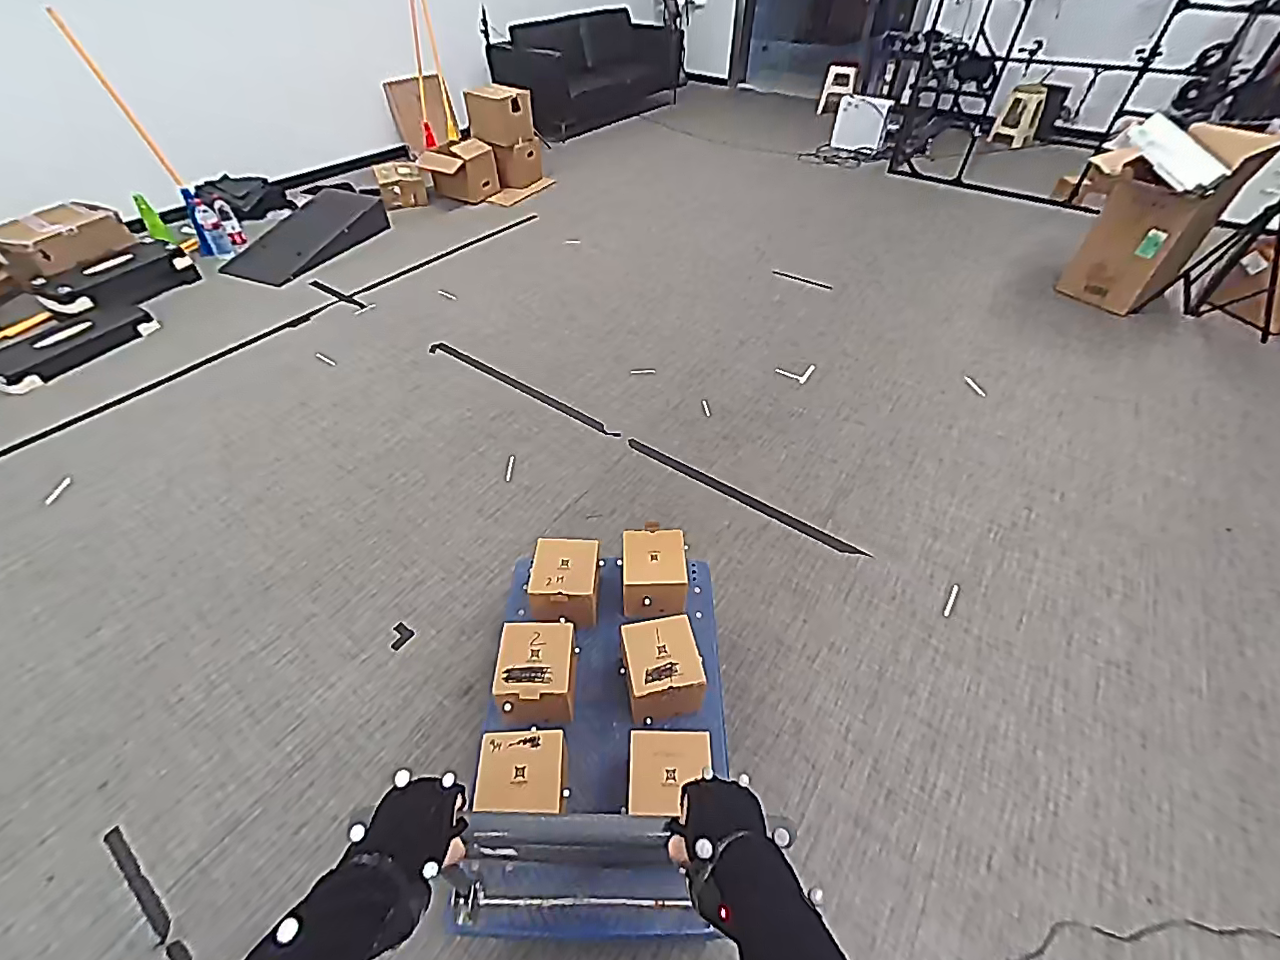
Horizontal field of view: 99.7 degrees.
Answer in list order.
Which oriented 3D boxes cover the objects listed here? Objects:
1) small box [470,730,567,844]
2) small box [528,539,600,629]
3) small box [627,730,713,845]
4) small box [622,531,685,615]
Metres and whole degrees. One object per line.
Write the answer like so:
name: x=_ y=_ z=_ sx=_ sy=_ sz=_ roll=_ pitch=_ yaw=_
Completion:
small box: x=-0.239 y=0.638 z=1.117 sx=0.168 sy=0.176 sz=0.179 roll=-1 pitch=46 yaw=-3
small box: x=-0.199 y=0.281 z=1.463 sx=0.168 sy=0.176 sz=0.179 roll=2 pitch=47 yaw=1
small box: x=0.059 y=0.642 z=1.124 sx=0.168 sy=0.176 sz=0.179 roll=2 pitch=45 yaw=0
small box: x=0.034 y=0.261 z=1.492 sx=0.168 sy=0.176 sz=0.179 roll=-1 pitch=46 yaw=-2
